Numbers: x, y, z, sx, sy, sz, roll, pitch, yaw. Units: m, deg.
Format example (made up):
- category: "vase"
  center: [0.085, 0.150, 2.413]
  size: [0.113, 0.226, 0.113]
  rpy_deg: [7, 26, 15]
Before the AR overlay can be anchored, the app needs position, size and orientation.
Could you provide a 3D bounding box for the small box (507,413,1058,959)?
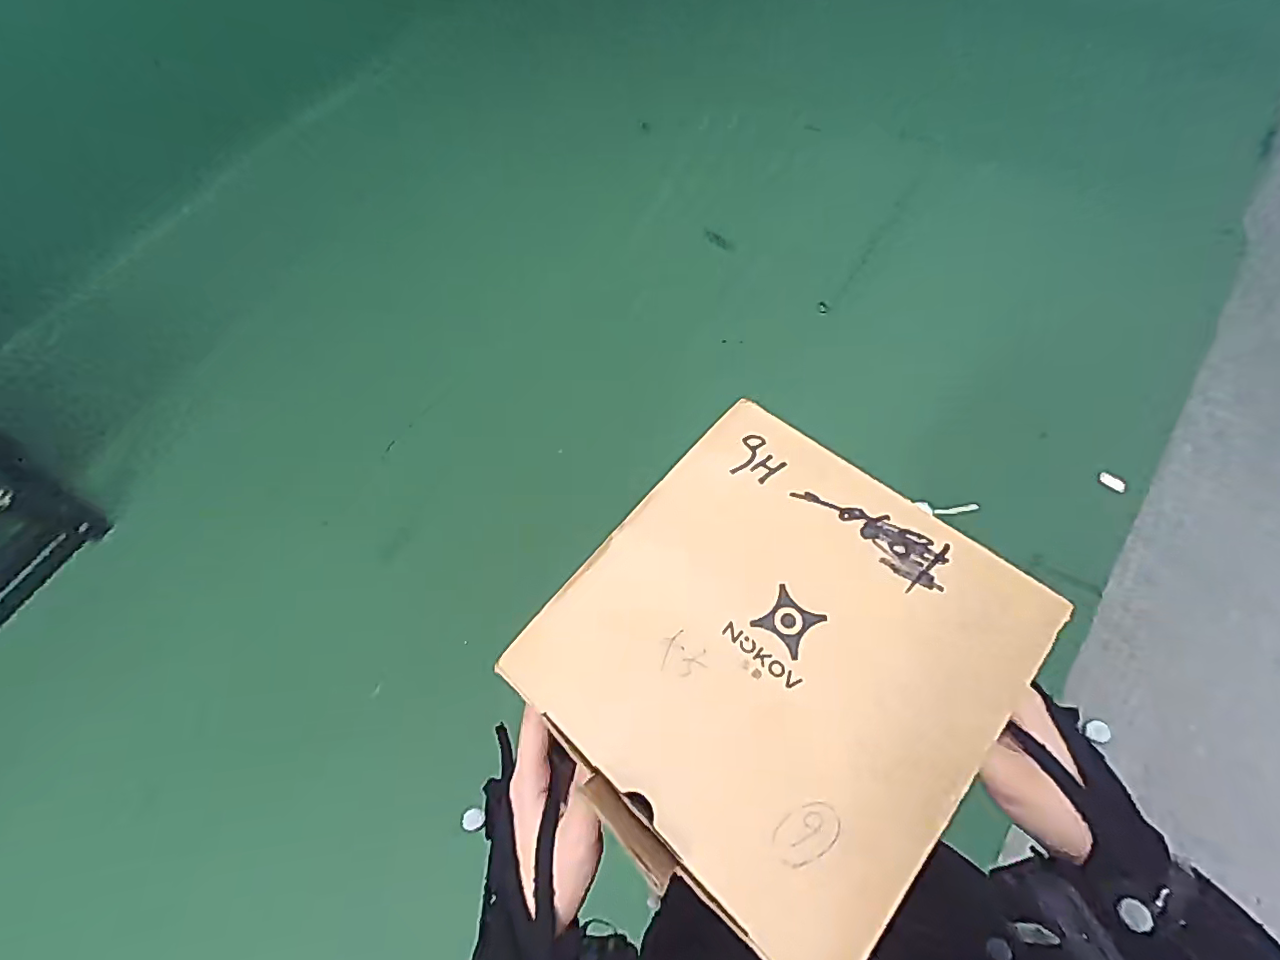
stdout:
- category: "small box"
  center: [0.065, 0.104, 0.300]
  size: [0.168, 0.176, 0.179]
  rpy_deg: [40, 75, 22]
